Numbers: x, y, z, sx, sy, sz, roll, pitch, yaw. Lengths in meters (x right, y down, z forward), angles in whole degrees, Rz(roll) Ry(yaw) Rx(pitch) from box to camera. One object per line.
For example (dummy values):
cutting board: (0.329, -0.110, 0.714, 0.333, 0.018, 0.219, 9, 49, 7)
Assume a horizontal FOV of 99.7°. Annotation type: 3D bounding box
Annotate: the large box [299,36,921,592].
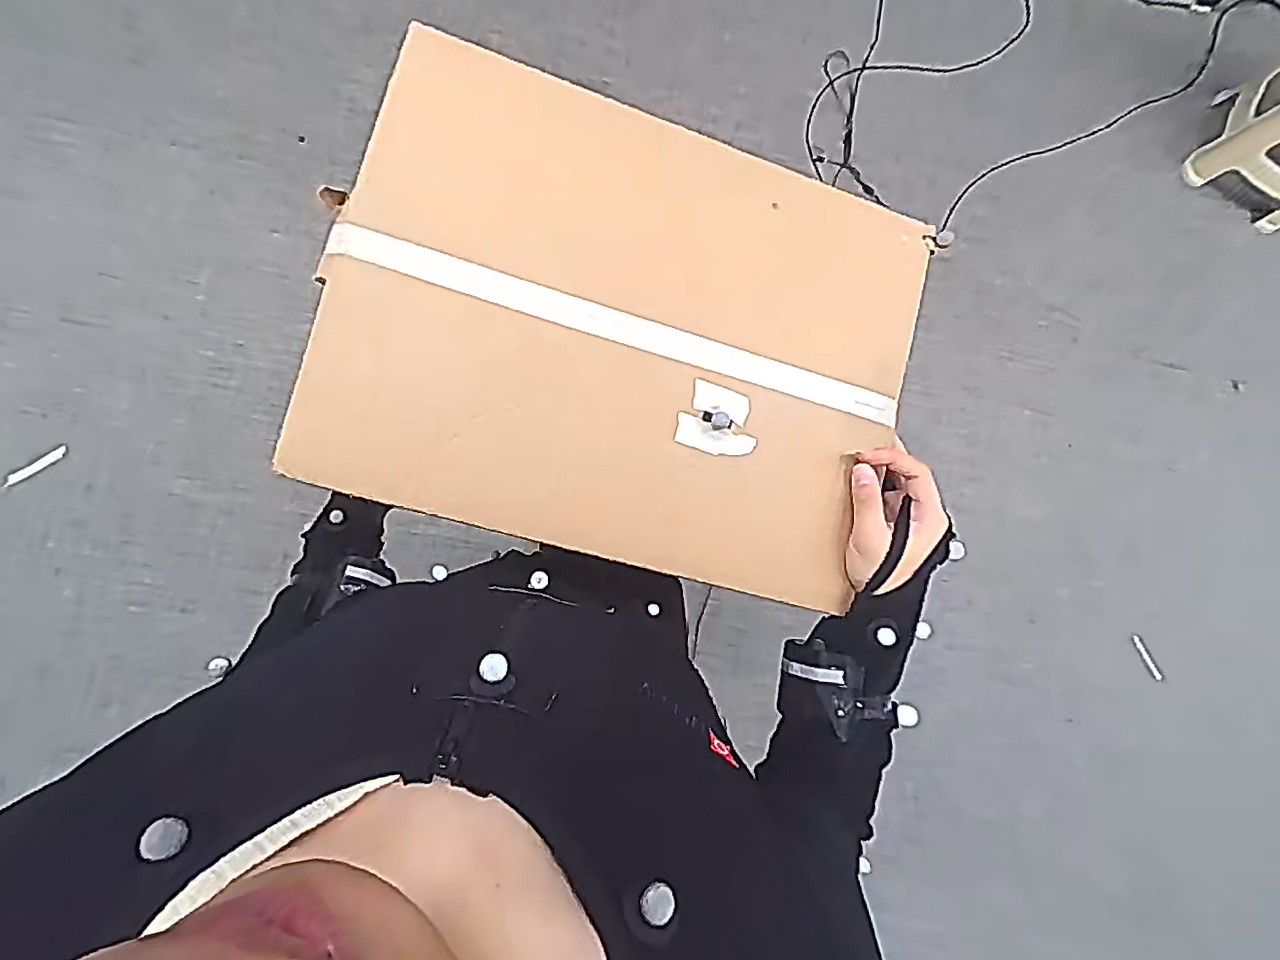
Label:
large box: (-0.025, -0.103, 0.534, 0.408, 0.320, 0.320, 15, 86, -11)
